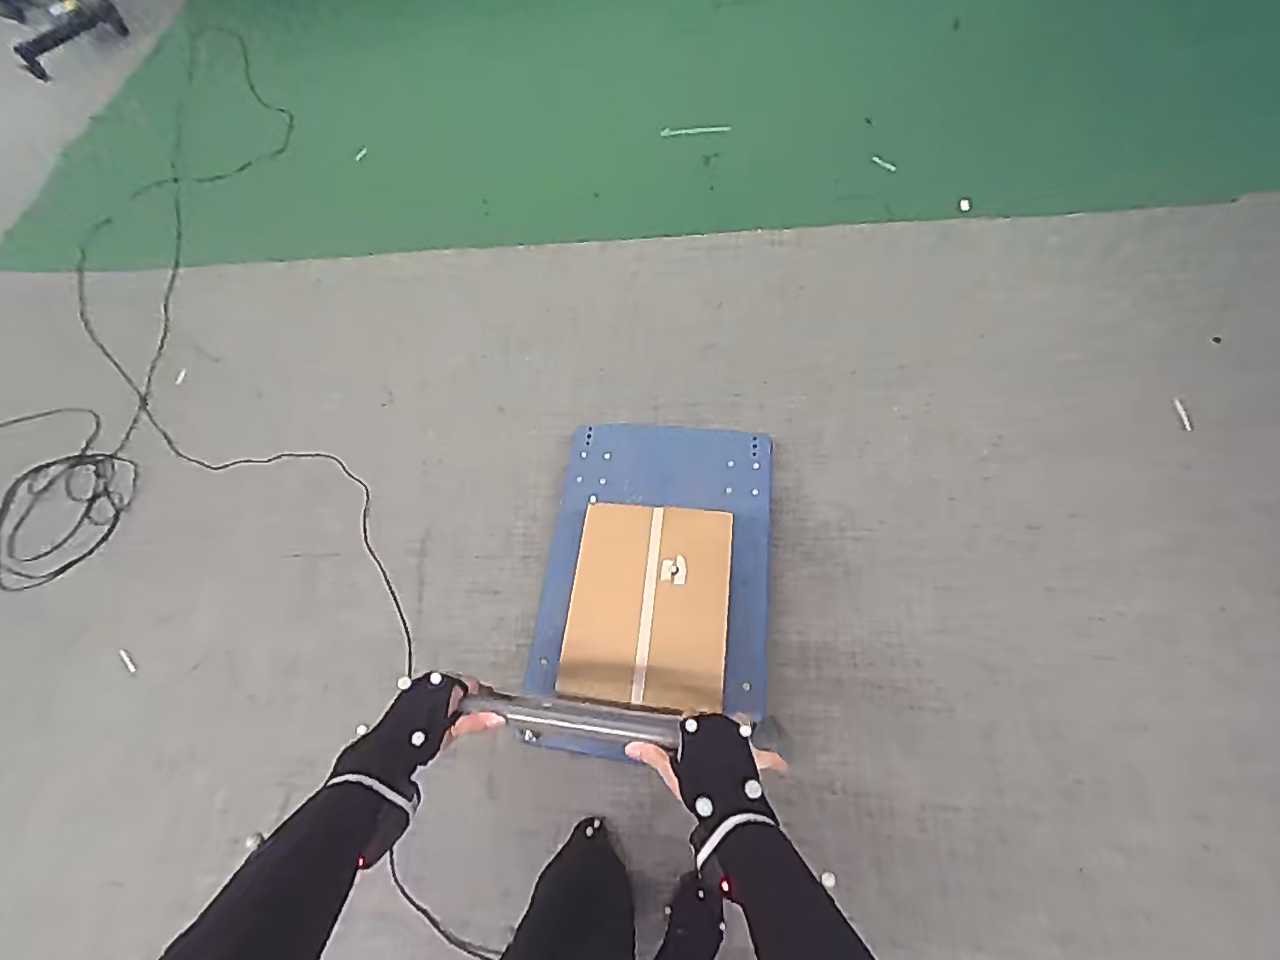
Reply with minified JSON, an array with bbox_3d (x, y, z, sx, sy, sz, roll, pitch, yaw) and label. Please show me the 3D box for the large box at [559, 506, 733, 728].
[{"bbox_3d":[0.036,0.309,1.190,0.320,0.320,0.408,4,64,8],"label":"large box"}]
